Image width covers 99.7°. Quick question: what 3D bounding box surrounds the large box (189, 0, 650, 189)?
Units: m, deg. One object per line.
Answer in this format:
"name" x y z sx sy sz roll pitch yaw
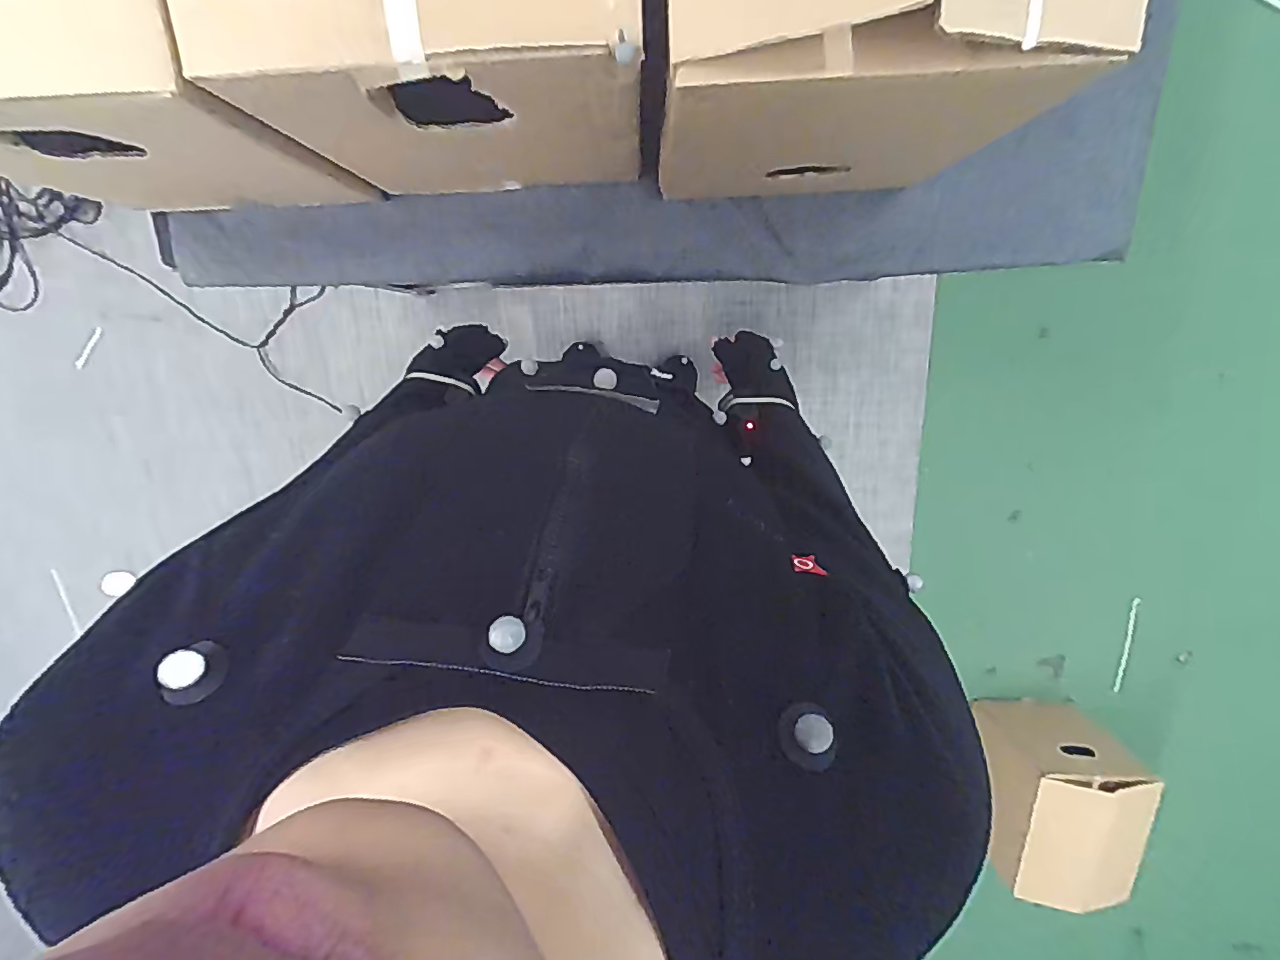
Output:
"large box" -0.159 -0.512 0.459 0.320 0.320 0.408 -3 105 2
